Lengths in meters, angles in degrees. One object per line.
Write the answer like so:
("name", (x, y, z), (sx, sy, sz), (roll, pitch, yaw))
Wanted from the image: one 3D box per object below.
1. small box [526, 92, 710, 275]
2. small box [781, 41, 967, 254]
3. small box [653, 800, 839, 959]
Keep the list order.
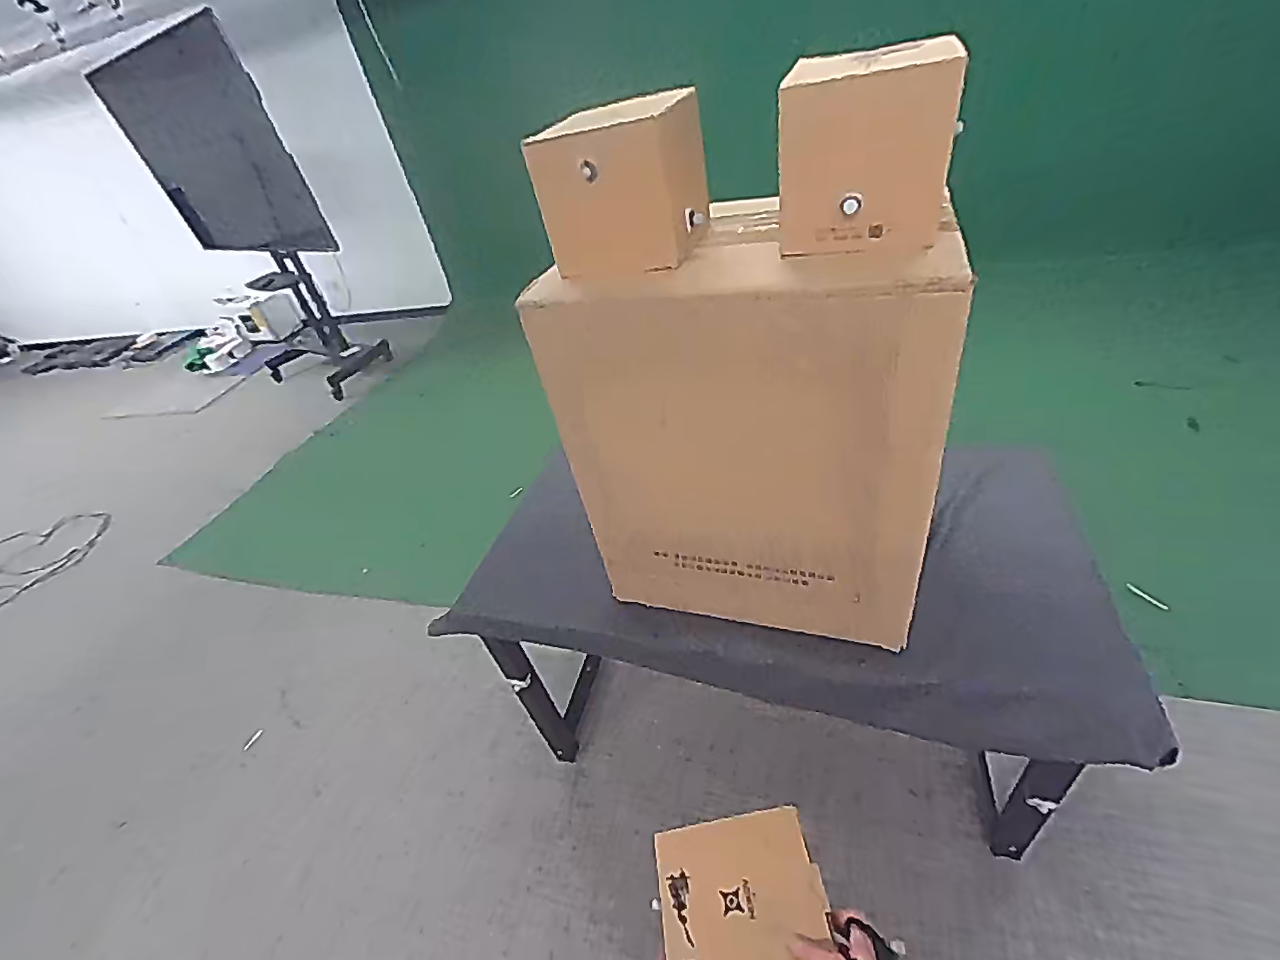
("small box", (-0.016, -0.382, 0.711), (0.179, 0.176, 0.168), (6, 45, 21))
("small box", (0.255, -0.372, 0.615), (0.168, 0.176, 0.179), (6, 45, 21))
("small box", (0.121, 0.509, 0.635), (0.179, 0.176, 0.168), (-13, 36, 4))
